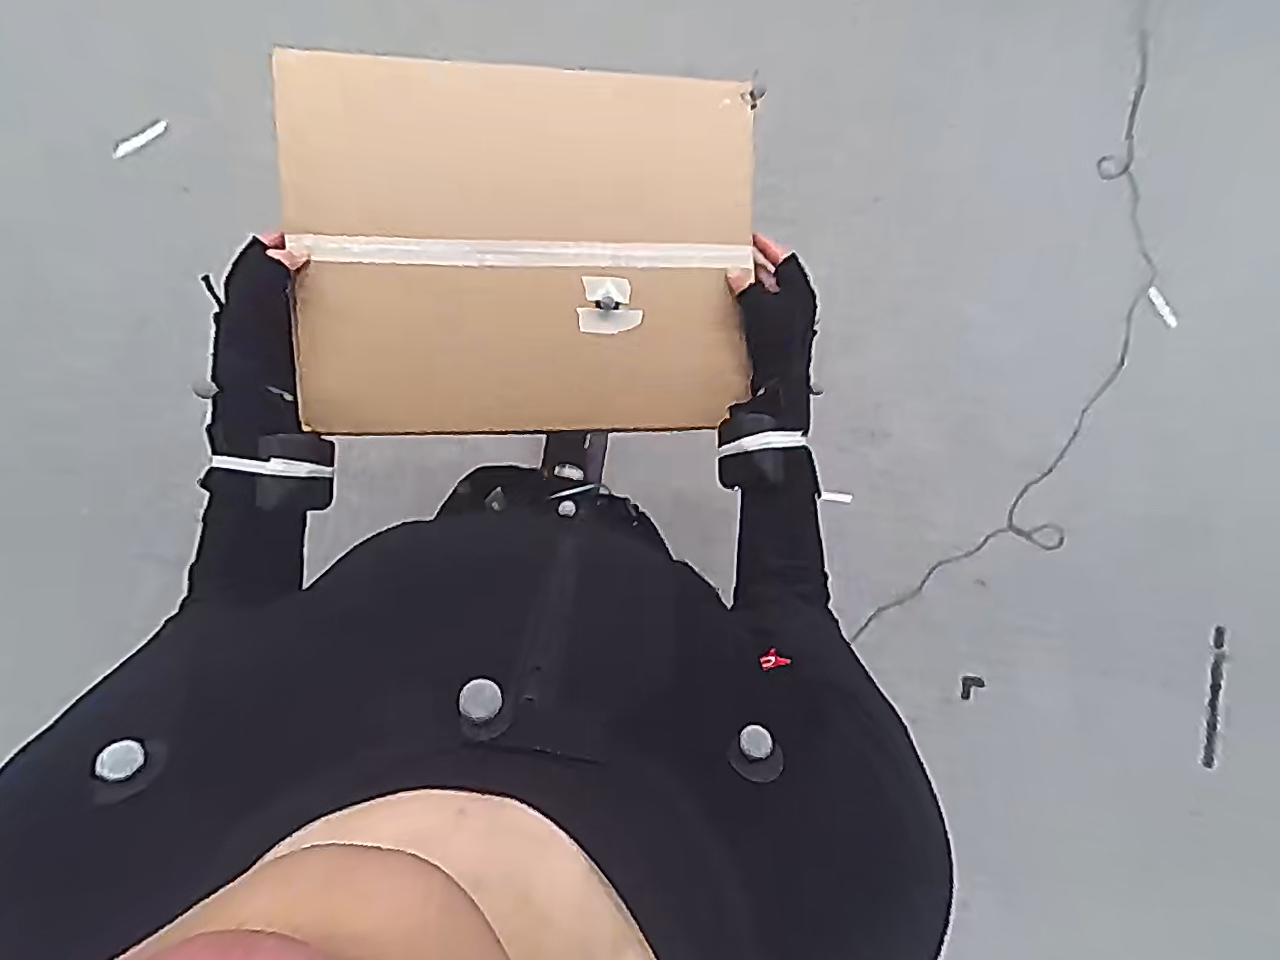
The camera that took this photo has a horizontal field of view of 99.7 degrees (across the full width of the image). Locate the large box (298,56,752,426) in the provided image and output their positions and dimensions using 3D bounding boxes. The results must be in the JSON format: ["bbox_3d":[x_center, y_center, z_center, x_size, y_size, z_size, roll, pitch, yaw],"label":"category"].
[{"bbox_3d":[-0.111,-0.226,0.641,0.408,0.320,0.320,-2,96,-8],"label":"large box"}]
